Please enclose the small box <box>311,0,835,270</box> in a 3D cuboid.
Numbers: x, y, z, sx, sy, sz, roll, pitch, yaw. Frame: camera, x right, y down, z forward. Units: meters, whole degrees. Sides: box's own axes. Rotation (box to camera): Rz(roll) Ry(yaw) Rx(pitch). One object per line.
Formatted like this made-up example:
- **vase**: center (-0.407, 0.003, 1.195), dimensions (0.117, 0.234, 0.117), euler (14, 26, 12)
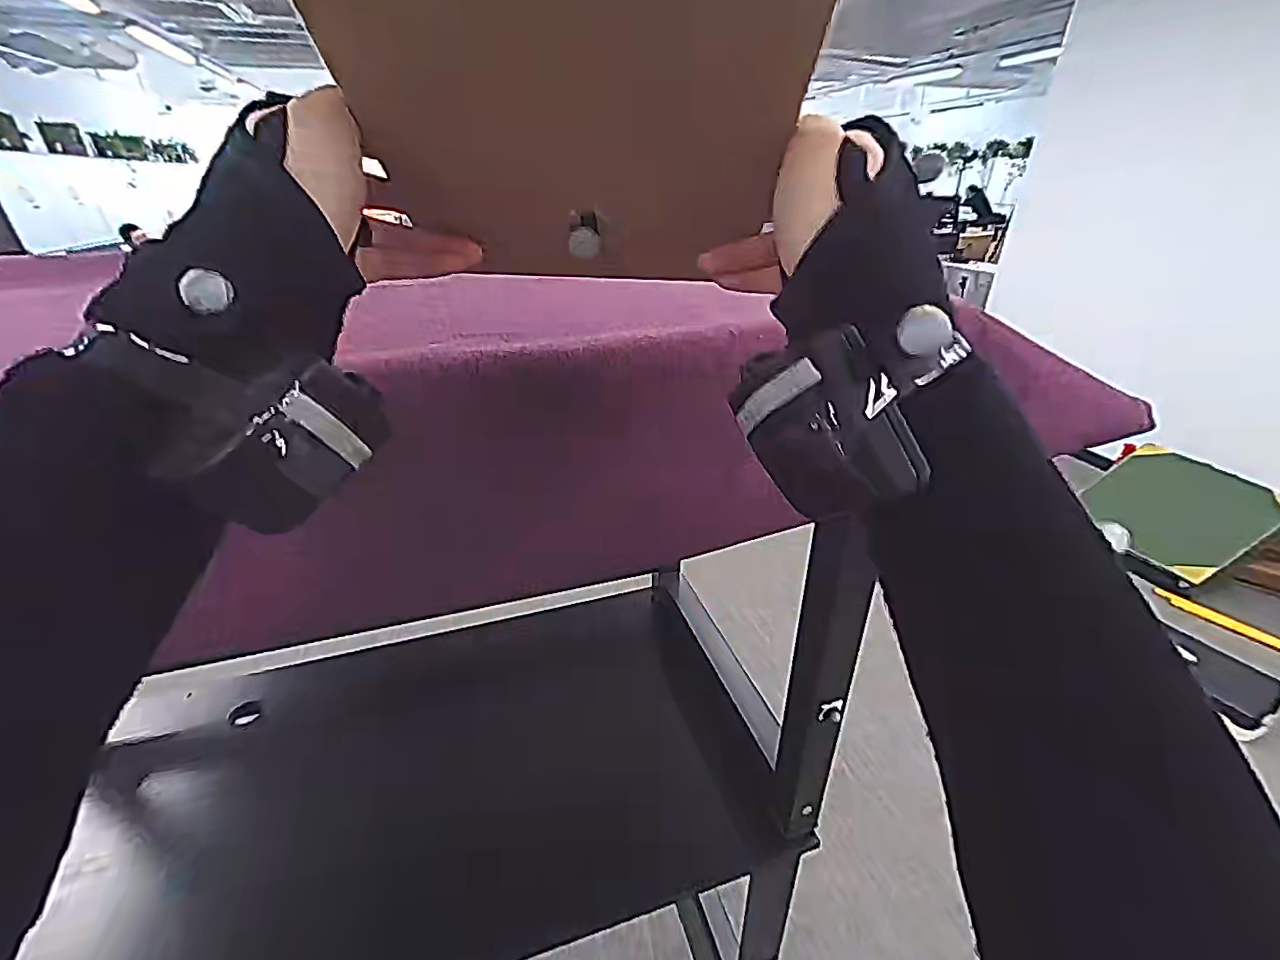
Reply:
- **small box**: center (-0.023, -0.219, 0.250), dimensions (0.179, 0.176, 0.168), euler (1, 73, -1)
